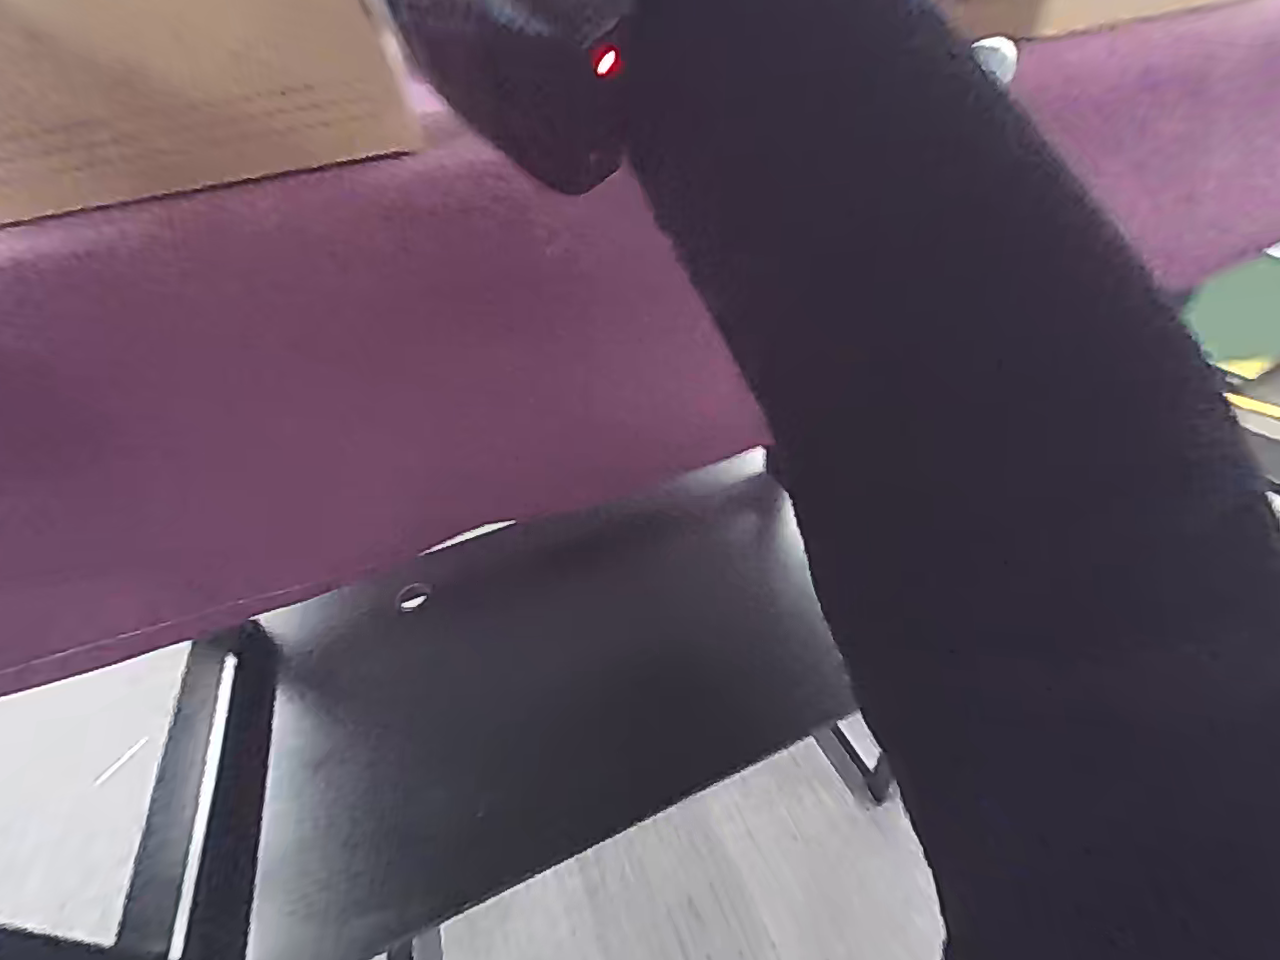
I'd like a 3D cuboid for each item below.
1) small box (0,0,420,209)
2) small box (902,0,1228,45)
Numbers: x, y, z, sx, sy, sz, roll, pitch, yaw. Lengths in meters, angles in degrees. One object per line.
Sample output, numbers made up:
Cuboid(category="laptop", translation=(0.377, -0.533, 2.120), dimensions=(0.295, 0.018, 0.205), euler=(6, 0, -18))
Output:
Cuboid(category="small box", translation=(-0.213, -0.231, 0.228), dimensions=(0.179, 0.176, 0.168), euler=(-17, 43, -10))
Cuboid(category="small box", translation=(0.267, -0.376, 0.316), dimensions=(0.179, 0.176, 0.168), euler=(-17, 41, -9))
